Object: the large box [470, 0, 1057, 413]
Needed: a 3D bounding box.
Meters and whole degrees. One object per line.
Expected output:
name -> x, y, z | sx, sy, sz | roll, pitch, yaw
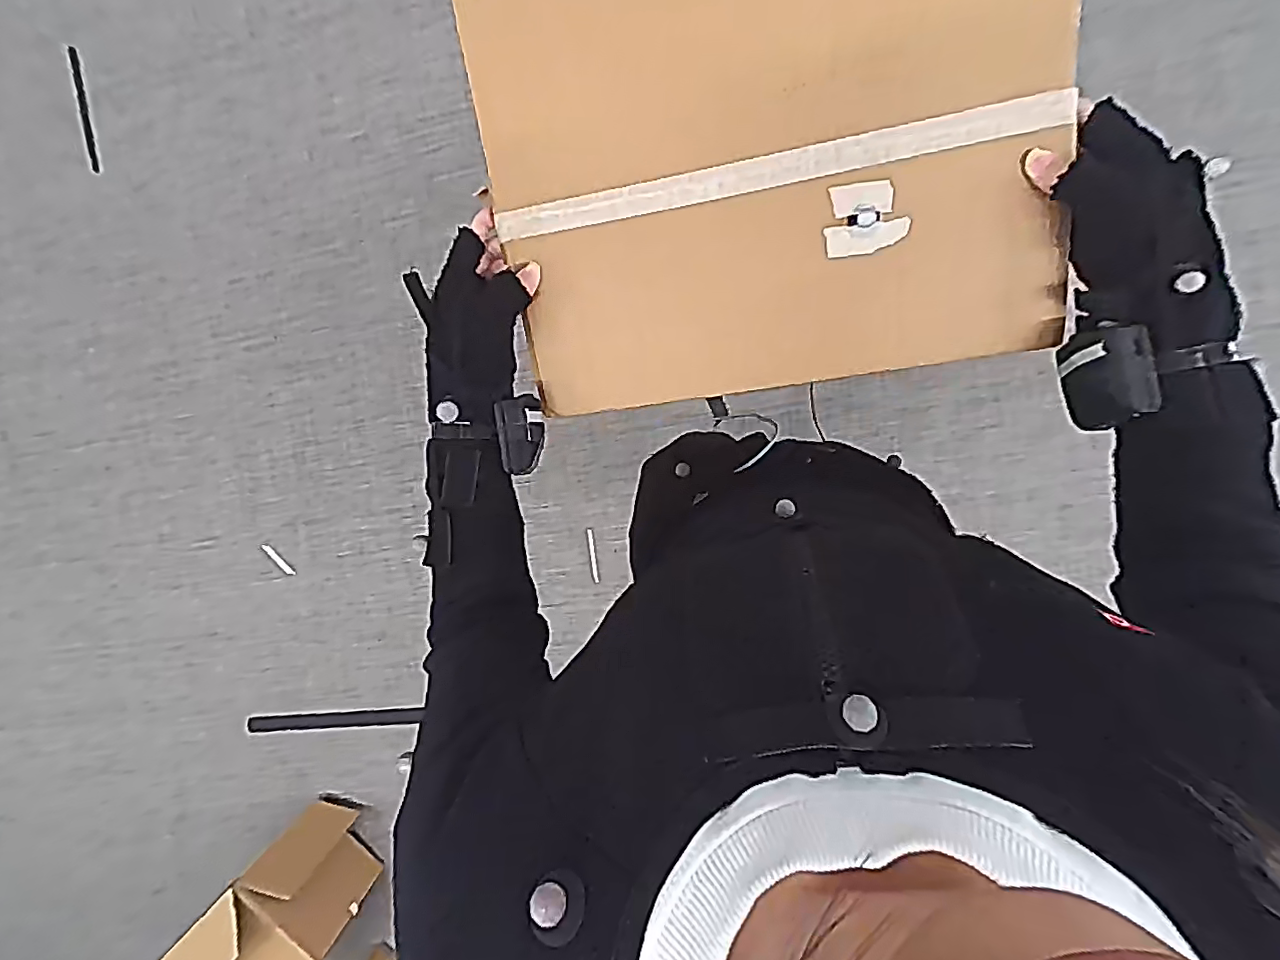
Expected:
large box -> 0.108, -0.274, 0.549 | 0.408, 0.320, 0.320 | -7, 107, 9
